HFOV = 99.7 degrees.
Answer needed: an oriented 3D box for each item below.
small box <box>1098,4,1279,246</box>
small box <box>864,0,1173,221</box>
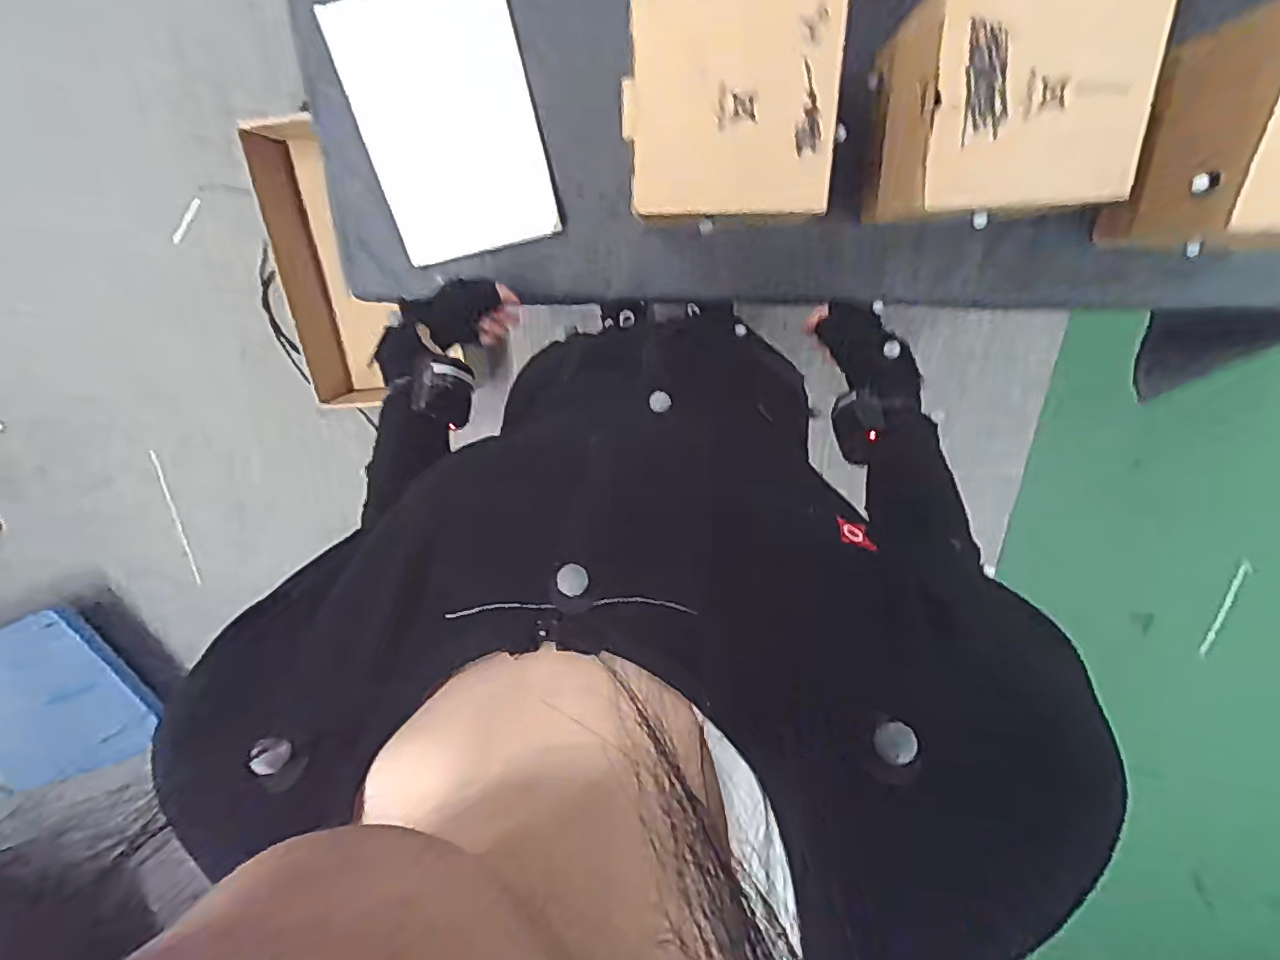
[{"bbox_3d":[0.589,-0.322,0.505,0.168,0.176,0.179,4,111,2],"label":"small box"},{"bbox_3d":[0.328,-0.346,0.511,0.179,0.176,0.168,-2,111,4],"label":"small box"}]
